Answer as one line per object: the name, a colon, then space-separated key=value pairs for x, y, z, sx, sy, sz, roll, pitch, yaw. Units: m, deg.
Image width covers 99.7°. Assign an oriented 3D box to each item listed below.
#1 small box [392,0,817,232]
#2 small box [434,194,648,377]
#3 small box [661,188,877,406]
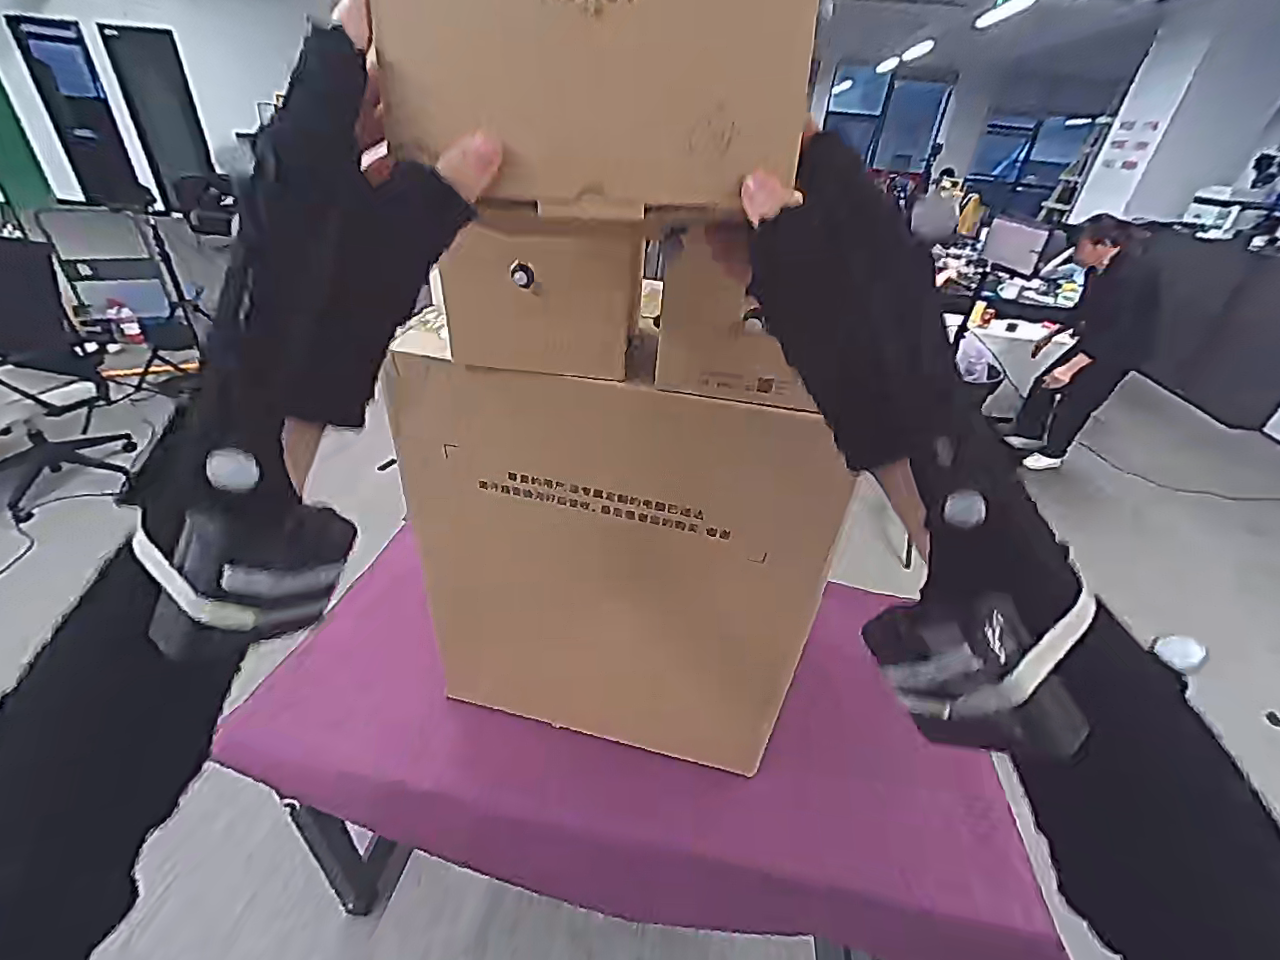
small box: x=-0.011 y=-0.229 z=0.274 sx=0.168 sy=0.179 sz=0.176 roll=2 pitch=19 yaw=0
small box: x=-0.085 y=-0.217 z=0.558 sx=0.179 sy=0.176 sz=0.168 roll=6 pitch=35 yaw=3
small box: x=0.117 y=-0.189 z=0.541 sx=0.168 sy=0.176 sz=0.179 roll=10 pitch=35 yaw=6
